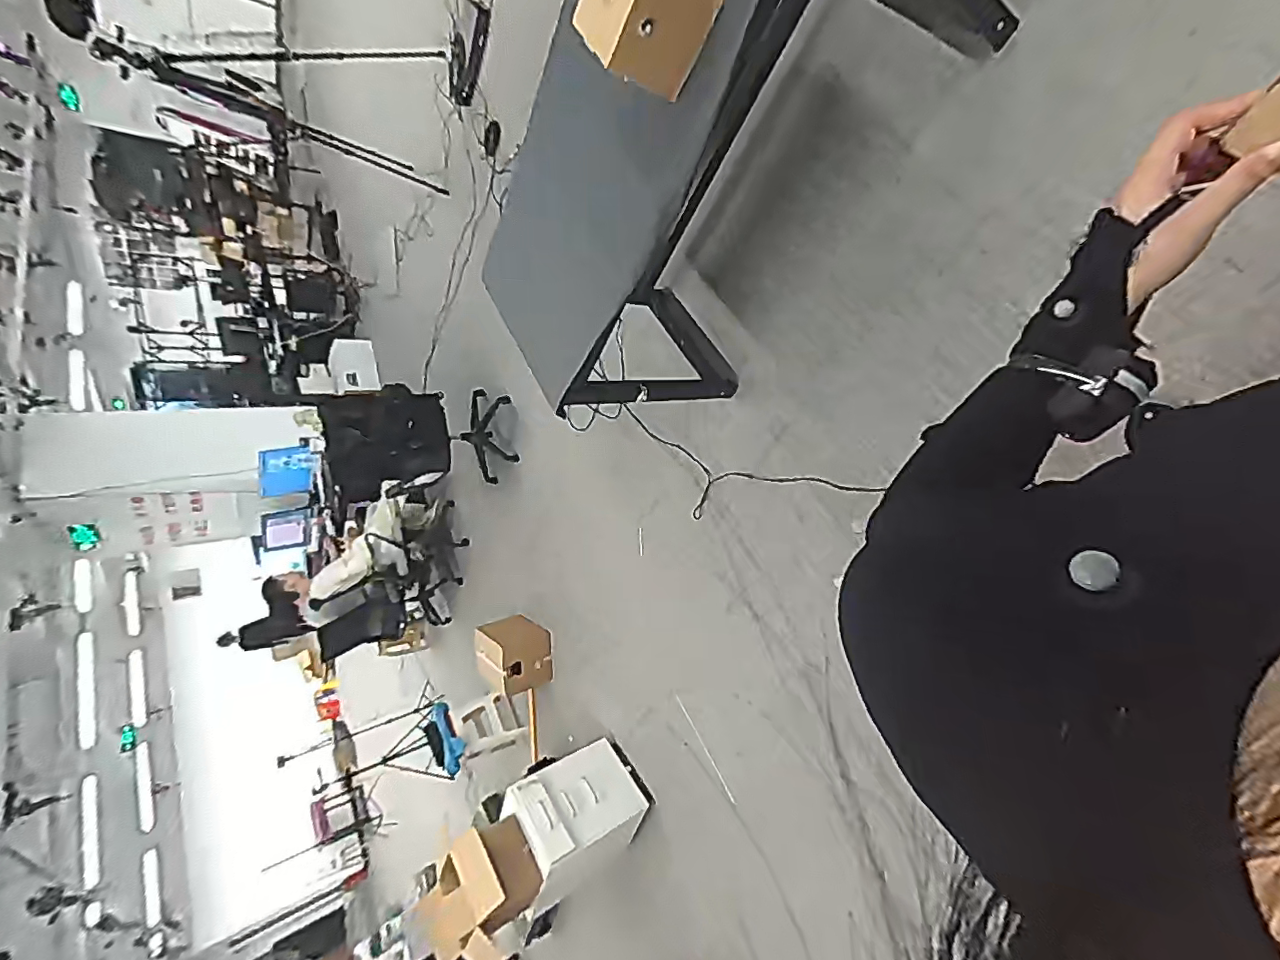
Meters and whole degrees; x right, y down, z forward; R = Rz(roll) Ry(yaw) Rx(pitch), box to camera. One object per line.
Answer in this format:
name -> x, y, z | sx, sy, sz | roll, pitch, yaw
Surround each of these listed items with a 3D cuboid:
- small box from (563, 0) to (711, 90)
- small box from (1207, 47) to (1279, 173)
small box -> -0.004, -0.832, 0.946 | 0.179, 0.176, 0.168 | -50, 59, 42
small box -> 0.517, -0.263, 0.324 | 0.179, 0.176, 0.168 | 45, 148, 15
